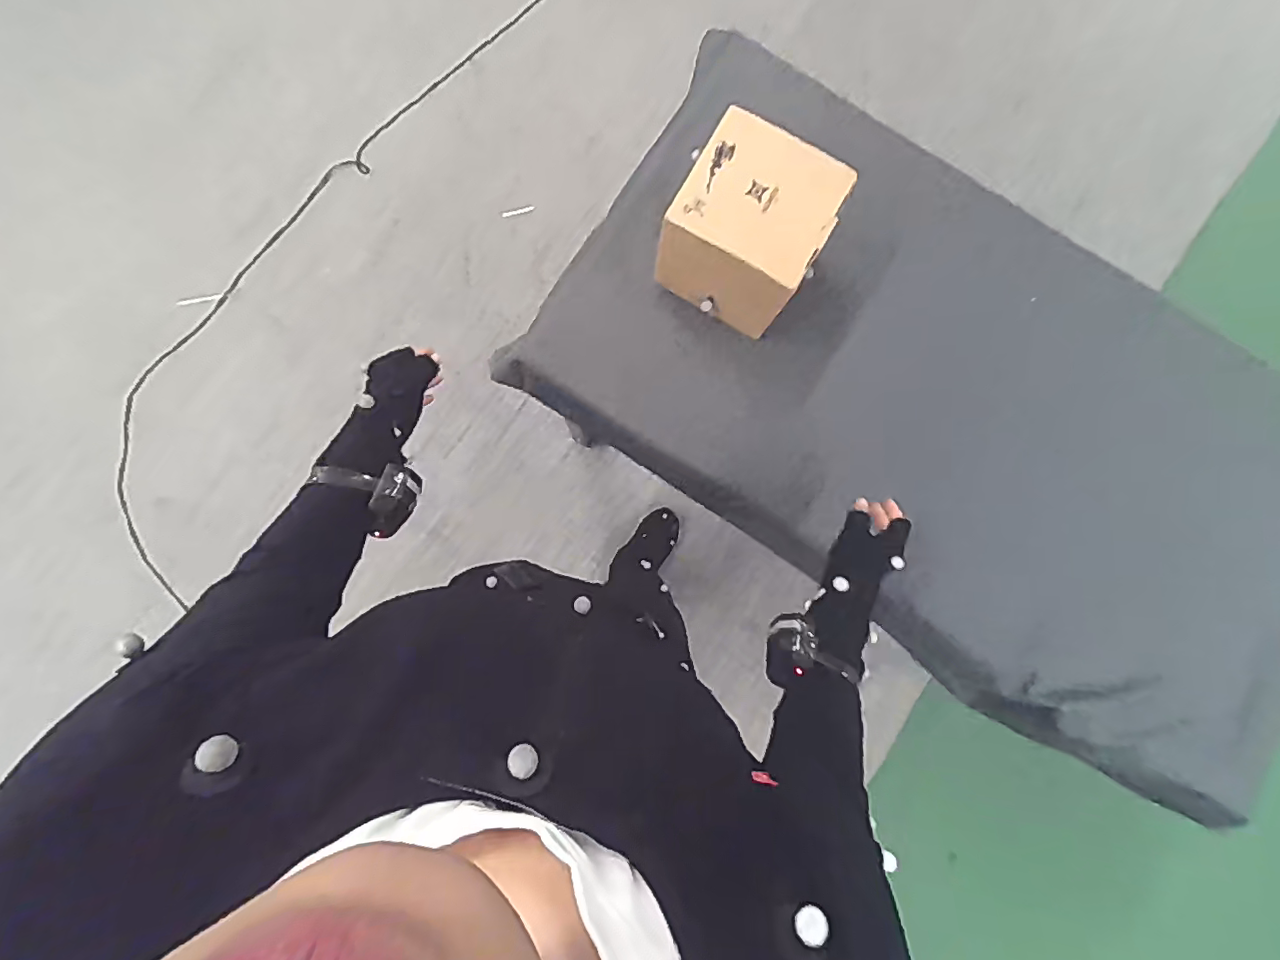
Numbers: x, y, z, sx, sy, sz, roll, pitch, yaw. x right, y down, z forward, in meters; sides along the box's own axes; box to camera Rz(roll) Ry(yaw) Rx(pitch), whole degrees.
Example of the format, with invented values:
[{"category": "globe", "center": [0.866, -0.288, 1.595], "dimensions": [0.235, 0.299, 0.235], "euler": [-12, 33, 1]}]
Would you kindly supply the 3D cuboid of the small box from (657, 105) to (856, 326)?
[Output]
[{"category": "small box", "center": [0.139, -0.327, 0.712], "dimensions": [0.179, 0.176, 0.168], "euler": [30, 84, -1]}]
